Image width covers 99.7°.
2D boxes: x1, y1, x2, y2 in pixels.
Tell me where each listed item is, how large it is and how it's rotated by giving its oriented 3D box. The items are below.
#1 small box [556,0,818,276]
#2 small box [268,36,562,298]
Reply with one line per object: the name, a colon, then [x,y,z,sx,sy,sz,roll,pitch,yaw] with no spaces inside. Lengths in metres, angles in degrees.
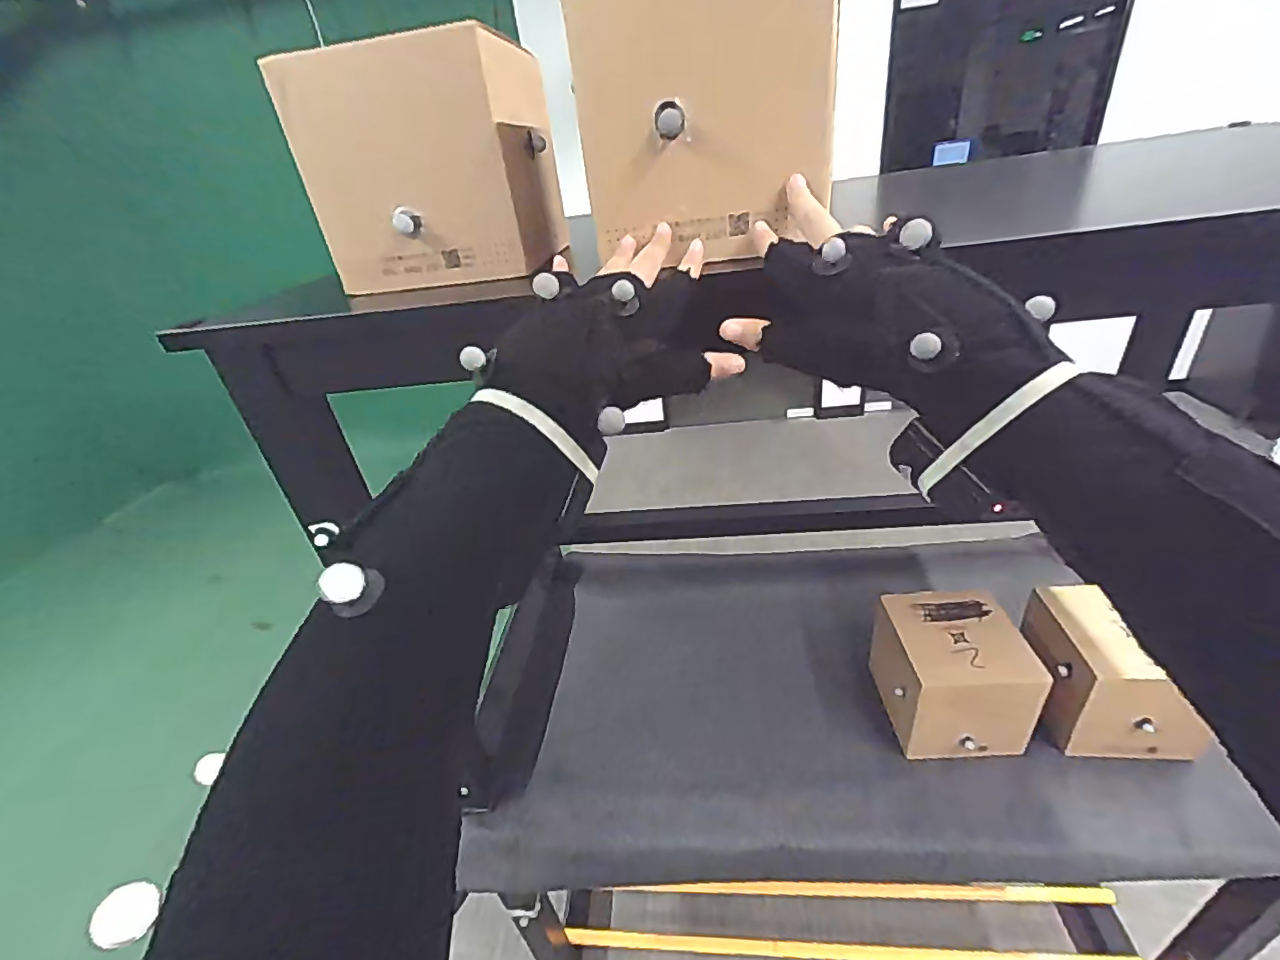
small box: [0.046,-0.267,0.433,0.168,0.176,0.179,-4,30,9]
small box: [-0.176,-0.273,0.494,0.168,0.176,0.179,-4,31,8]
